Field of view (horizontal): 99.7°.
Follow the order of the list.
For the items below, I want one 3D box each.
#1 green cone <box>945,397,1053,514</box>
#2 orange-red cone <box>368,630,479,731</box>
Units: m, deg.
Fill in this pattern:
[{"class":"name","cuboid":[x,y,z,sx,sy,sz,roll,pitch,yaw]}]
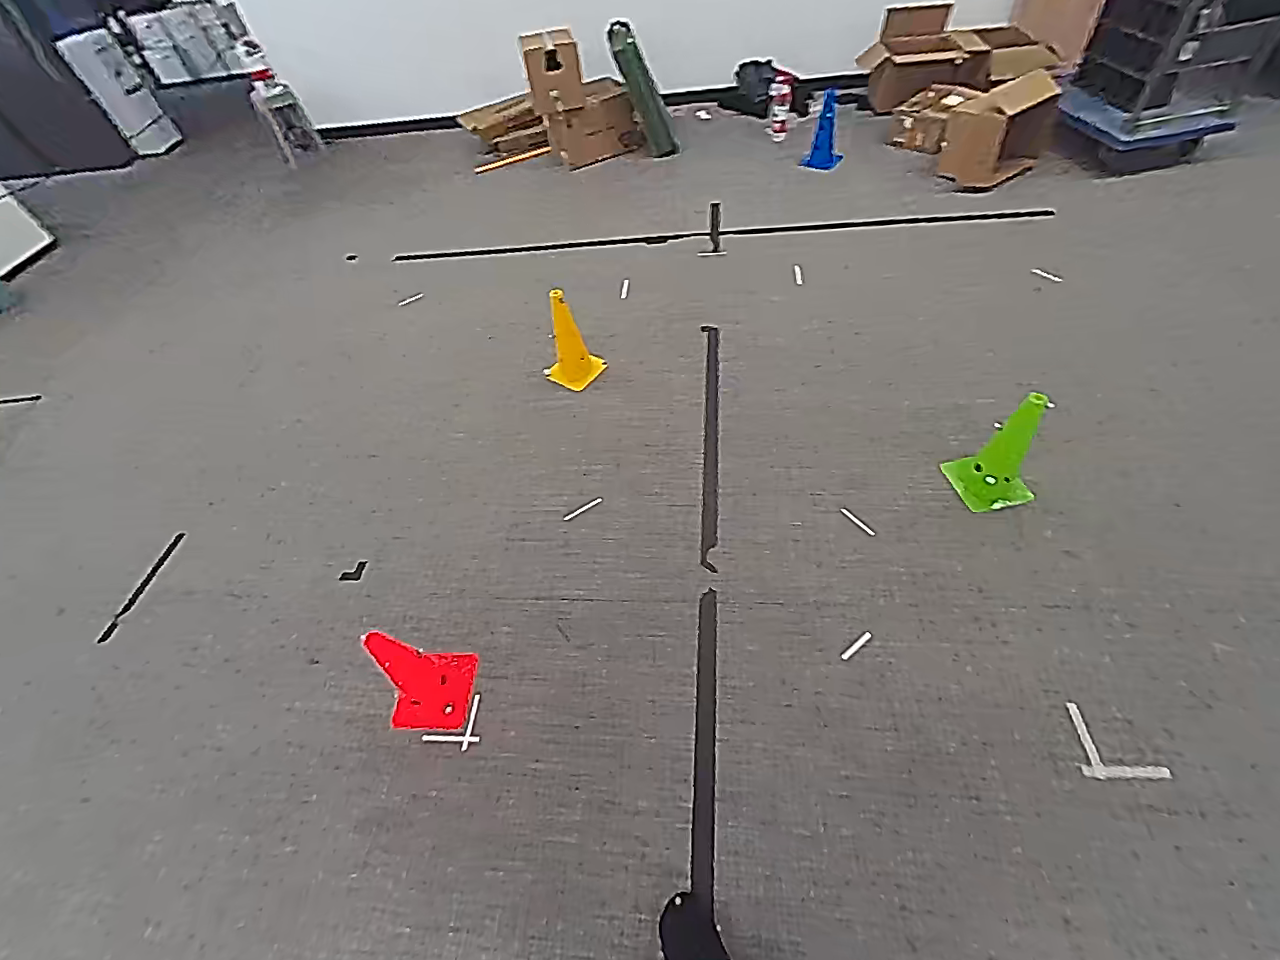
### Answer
[{"class":"green cone","cuboid":[1.057,-0.095,1.533,0.200,0.368,0.202,-13,52,-1]},{"class":"orange-red cone","cuboid":[-0.562,0.454,1.318,0.198,0.360,0.199,0,50,7]}]
